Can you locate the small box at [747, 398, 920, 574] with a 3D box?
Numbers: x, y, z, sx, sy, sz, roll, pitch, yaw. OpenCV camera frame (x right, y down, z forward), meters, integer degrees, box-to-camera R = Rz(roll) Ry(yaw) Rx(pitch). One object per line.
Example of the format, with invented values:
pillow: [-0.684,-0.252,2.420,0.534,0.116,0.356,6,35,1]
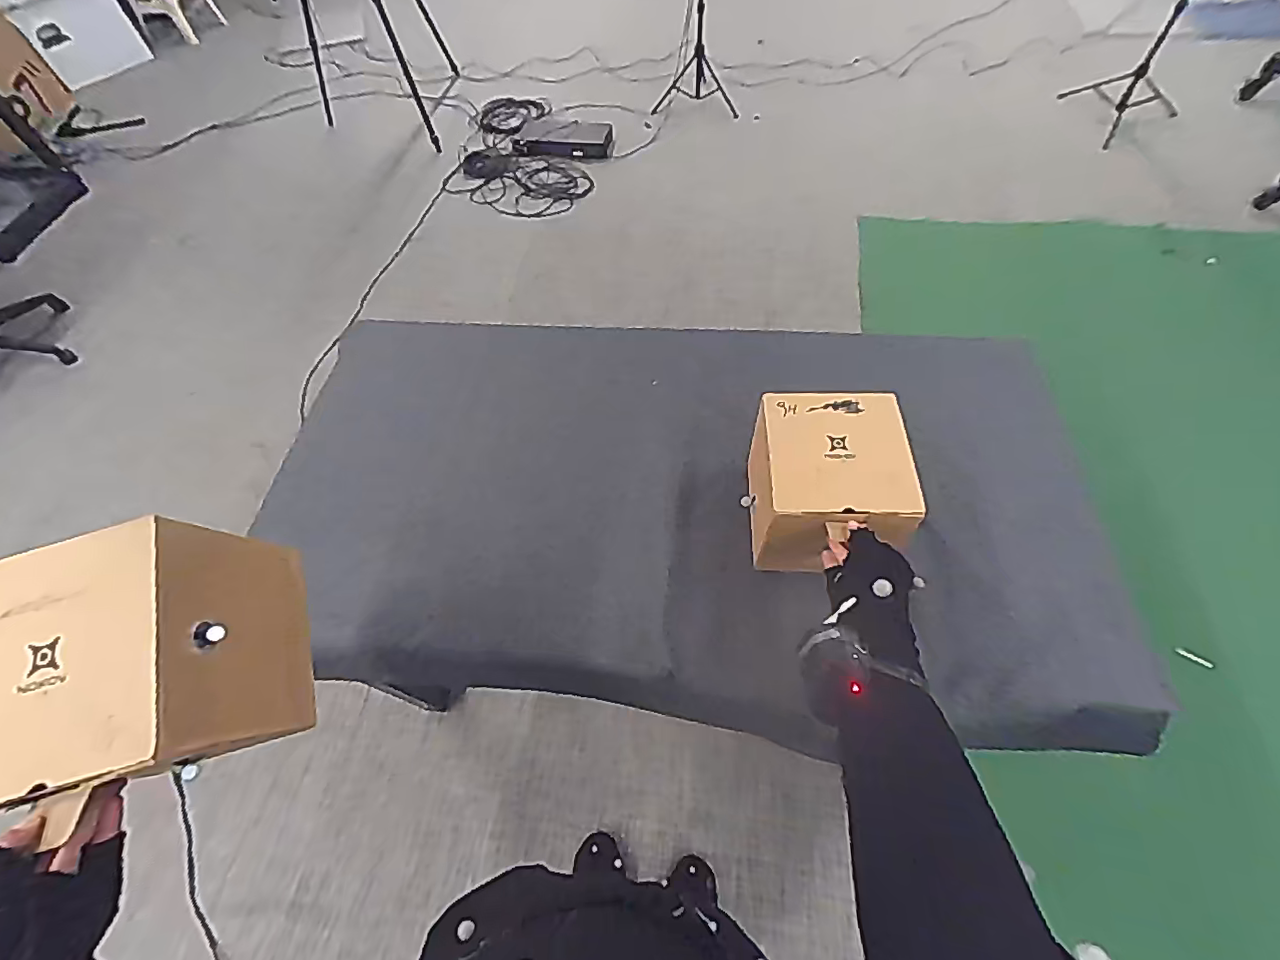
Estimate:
small box: [0.234,0.013,0.704,0.168,0.176,0.179,2,59,3]

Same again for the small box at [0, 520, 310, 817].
small box: [-0.406,0.152,0.450,0.168,0.176,0.179,-16,71,-1]
